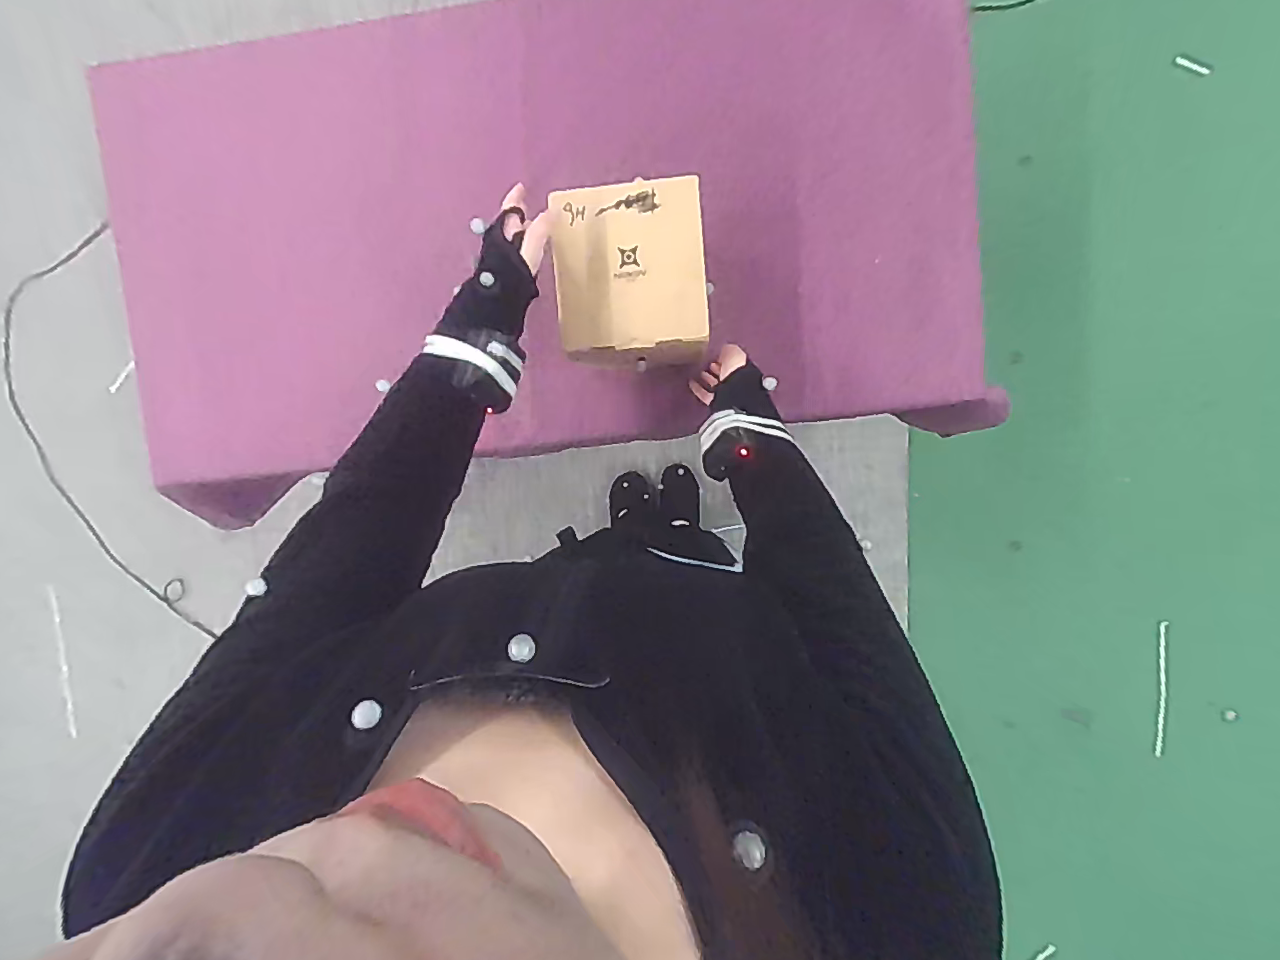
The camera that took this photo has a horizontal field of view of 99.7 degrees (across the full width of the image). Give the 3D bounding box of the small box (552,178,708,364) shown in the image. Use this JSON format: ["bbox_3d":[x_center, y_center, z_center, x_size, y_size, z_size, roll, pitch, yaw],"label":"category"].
[{"bbox_3d":[-0.004,-0.240,0.667,0.168,0.176,0.179,-4,95,4],"label":"small box"}]
